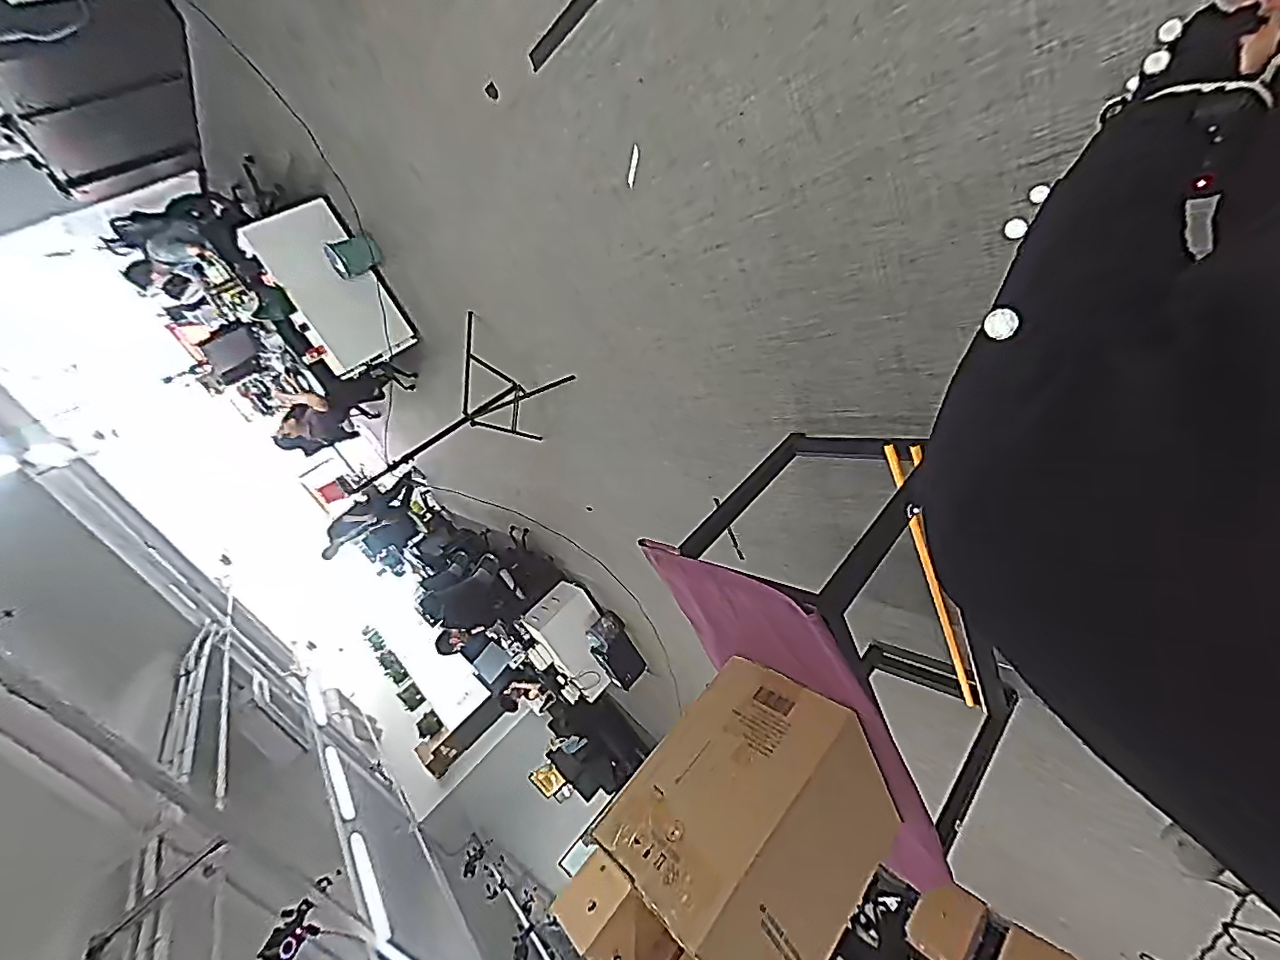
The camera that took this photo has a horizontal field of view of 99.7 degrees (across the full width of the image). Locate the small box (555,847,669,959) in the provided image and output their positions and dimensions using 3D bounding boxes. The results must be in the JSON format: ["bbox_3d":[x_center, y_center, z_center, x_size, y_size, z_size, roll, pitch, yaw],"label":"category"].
[{"bbox_3d":[-0.064,1.036,1.298,0.168,0.176,0.179,2,131,56],"label":"small box"}]
